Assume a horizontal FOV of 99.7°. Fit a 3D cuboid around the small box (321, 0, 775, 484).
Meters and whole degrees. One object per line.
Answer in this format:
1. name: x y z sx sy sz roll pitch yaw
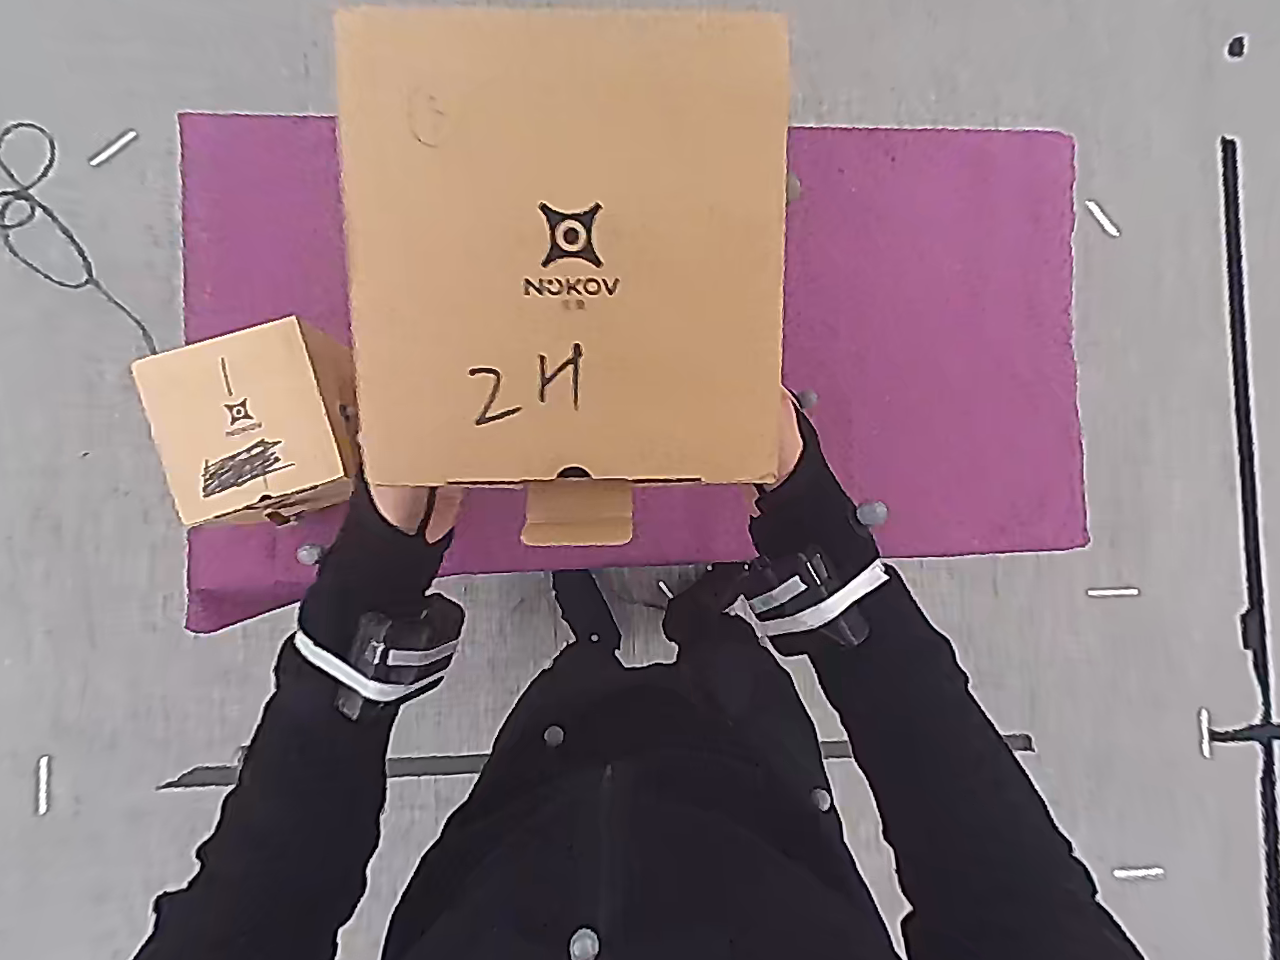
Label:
1. small box: -0.035 -0.094 0.283 0.168 0.176 0.179 -1 98 -1
